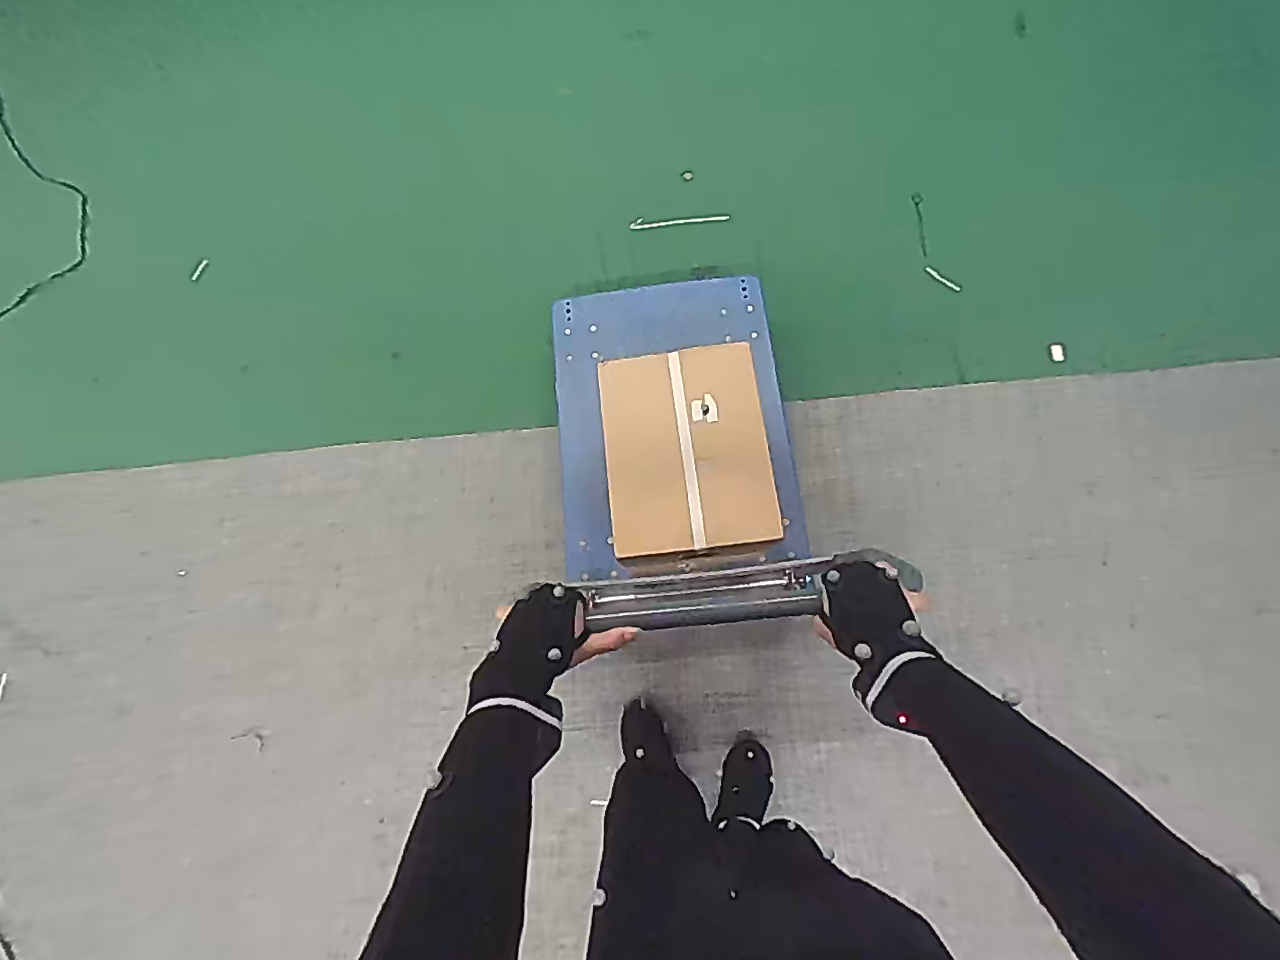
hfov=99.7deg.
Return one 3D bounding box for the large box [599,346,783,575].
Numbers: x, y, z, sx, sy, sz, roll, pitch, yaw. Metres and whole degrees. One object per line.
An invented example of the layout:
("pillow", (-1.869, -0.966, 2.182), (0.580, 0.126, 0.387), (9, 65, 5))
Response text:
("large box", (0.103, -0.022, 1.189), (0.320, 0.320, 0.408), (-7, 74, 2))
